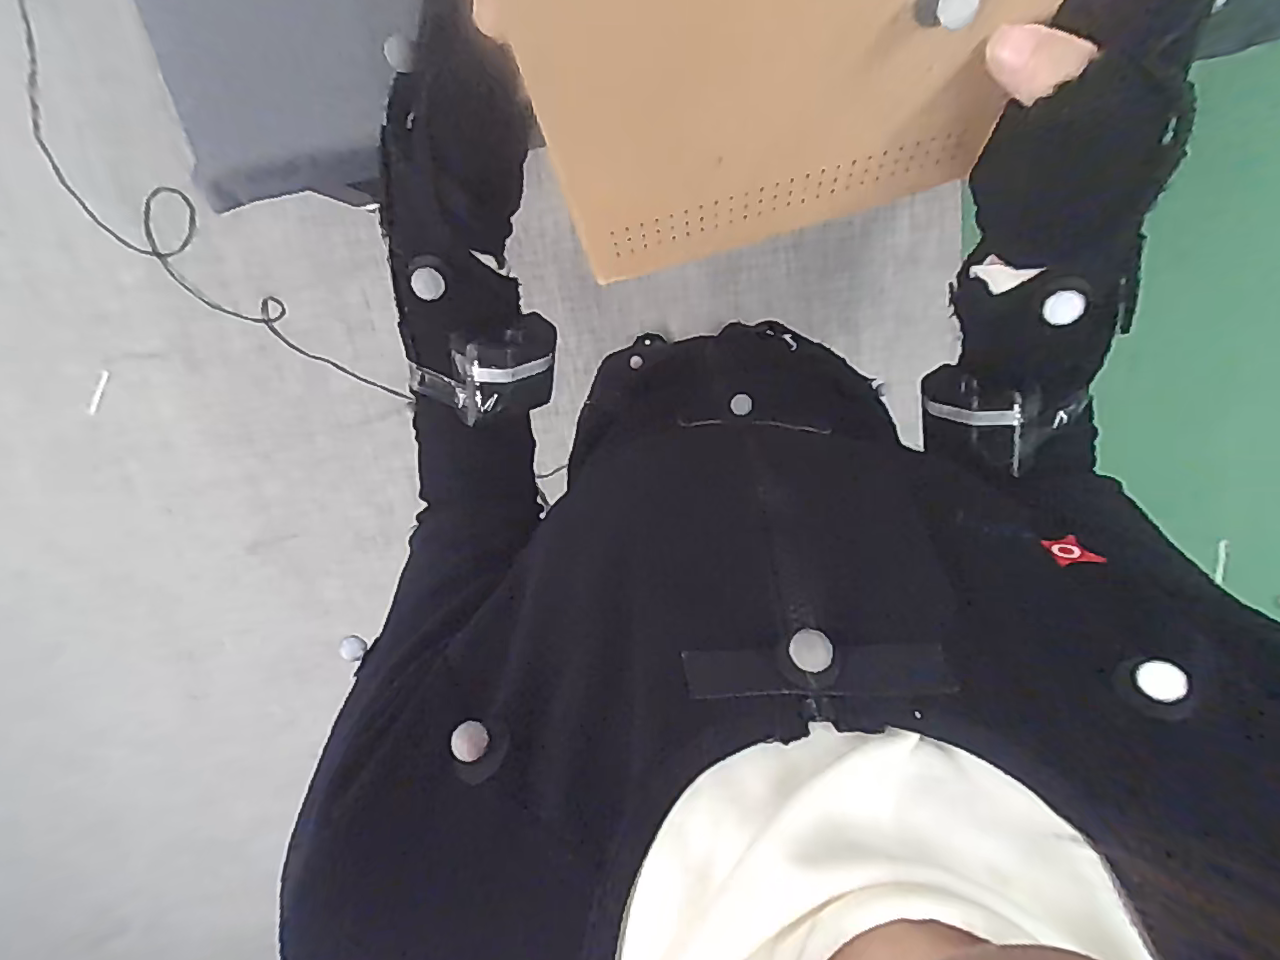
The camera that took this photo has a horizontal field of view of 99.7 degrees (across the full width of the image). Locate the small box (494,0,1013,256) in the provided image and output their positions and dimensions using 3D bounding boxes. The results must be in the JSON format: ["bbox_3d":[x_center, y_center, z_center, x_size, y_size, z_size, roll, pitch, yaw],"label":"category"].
[{"bbox_3d":[0.031,-0.219,0.202,0.179,0.176,0.168,-14,71,4],"label":"small box"}]
